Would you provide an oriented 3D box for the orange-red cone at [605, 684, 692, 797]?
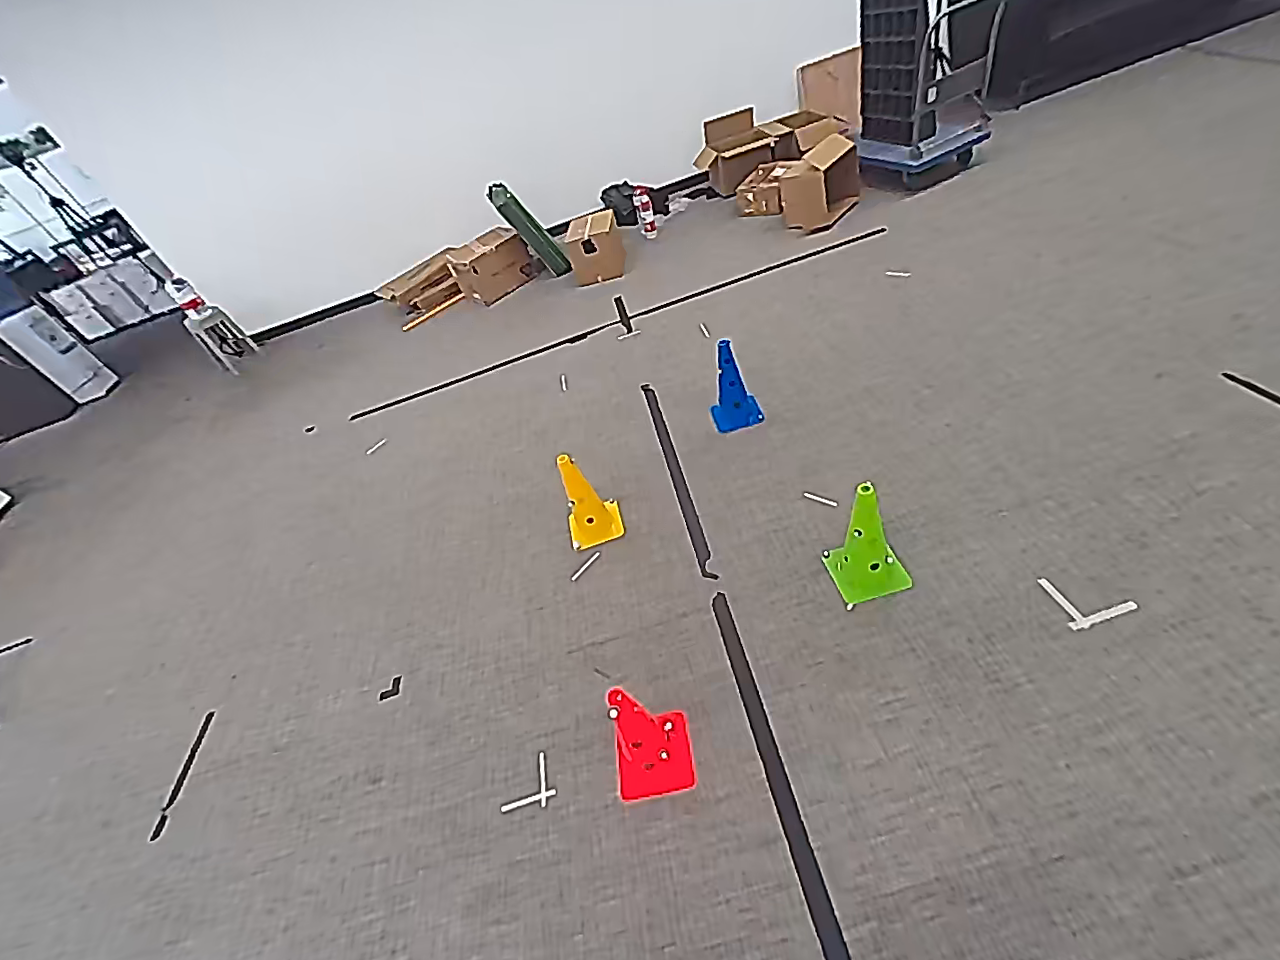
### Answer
[{"bbox_3d":[-0.014,0.594,1.309,0.199,0.360,0.198,-16,41,7],"label":"orange-red cone"}]

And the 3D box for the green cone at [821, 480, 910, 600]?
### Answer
[{"bbox_3d":[0.631,0.142,1.516,0.202,0.368,0.200,-17,42,2],"label":"green cone"}]

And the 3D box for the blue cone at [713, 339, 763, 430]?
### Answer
[{"bbox_3d":[0.375,-0.403,2.211,0.192,0.380,0.193,-15,42,5],"label":"blue cone"}]
